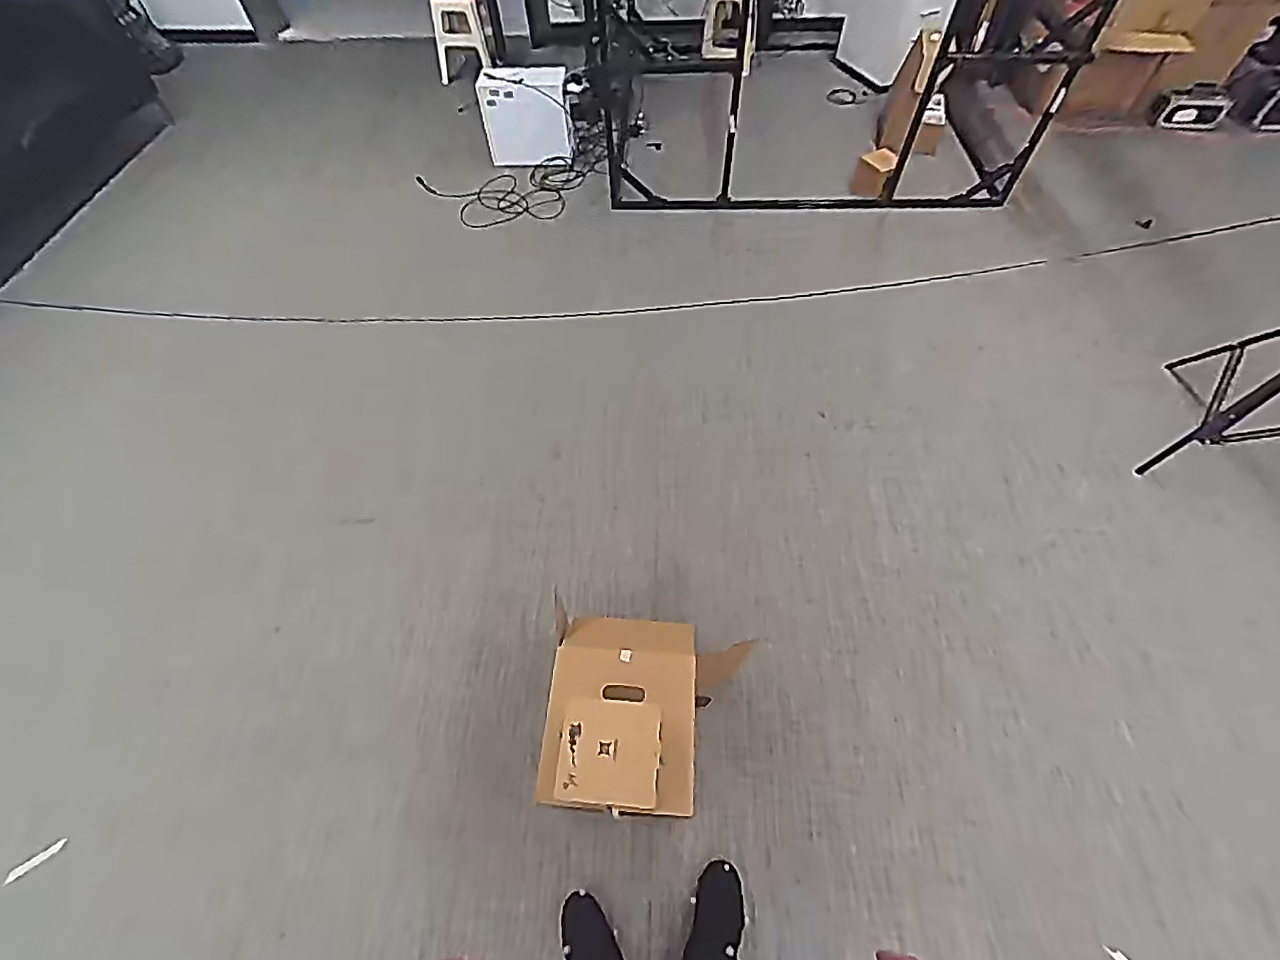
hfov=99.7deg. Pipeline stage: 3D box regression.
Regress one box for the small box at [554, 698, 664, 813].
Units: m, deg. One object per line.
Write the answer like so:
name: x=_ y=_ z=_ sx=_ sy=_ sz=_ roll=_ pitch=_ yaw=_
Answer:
small box: x=-0.050 y=0.520 z=1.018 sx=0.179 sy=0.176 sz=0.168 roll=5 pitch=58 yaw=4
